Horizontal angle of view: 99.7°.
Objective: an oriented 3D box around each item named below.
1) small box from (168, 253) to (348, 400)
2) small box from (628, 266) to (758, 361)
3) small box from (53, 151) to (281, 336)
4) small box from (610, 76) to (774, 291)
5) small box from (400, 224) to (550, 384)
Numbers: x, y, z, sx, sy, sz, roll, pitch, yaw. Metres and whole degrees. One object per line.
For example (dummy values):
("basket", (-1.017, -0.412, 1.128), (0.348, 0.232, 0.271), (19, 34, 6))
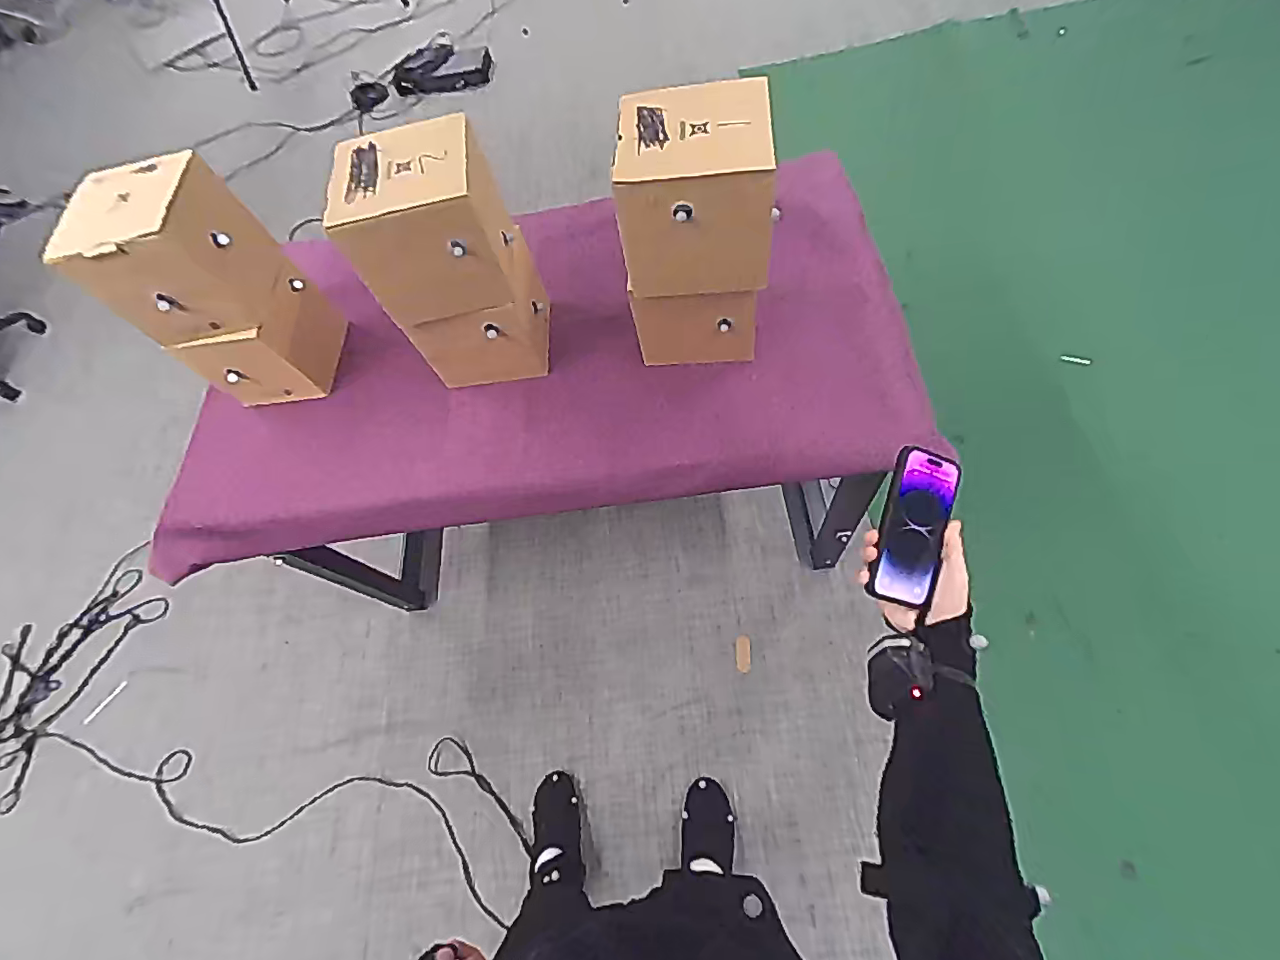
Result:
("small box", (-0.637, -0.251, 0.928), (0.168, 0.176, 0.179), (-6, 64, 7))
("small box", (0.086, -0.299, 0.826), (0.179, 0.176, 0.168), (-1, 64, 10))
("small box", (-0.663, -0.329, 0.785), (0.168, 0.176, 0.179), (-10, 64, 4))
("small box", (0.070, -0.356, 0.673), (0.179, 0.176, 0.168), (-1, 64, 9))
("small box", (-0.251, -0.275, 0.871), (0.179, 0.176, 0.168), (-6, 64, 7))
